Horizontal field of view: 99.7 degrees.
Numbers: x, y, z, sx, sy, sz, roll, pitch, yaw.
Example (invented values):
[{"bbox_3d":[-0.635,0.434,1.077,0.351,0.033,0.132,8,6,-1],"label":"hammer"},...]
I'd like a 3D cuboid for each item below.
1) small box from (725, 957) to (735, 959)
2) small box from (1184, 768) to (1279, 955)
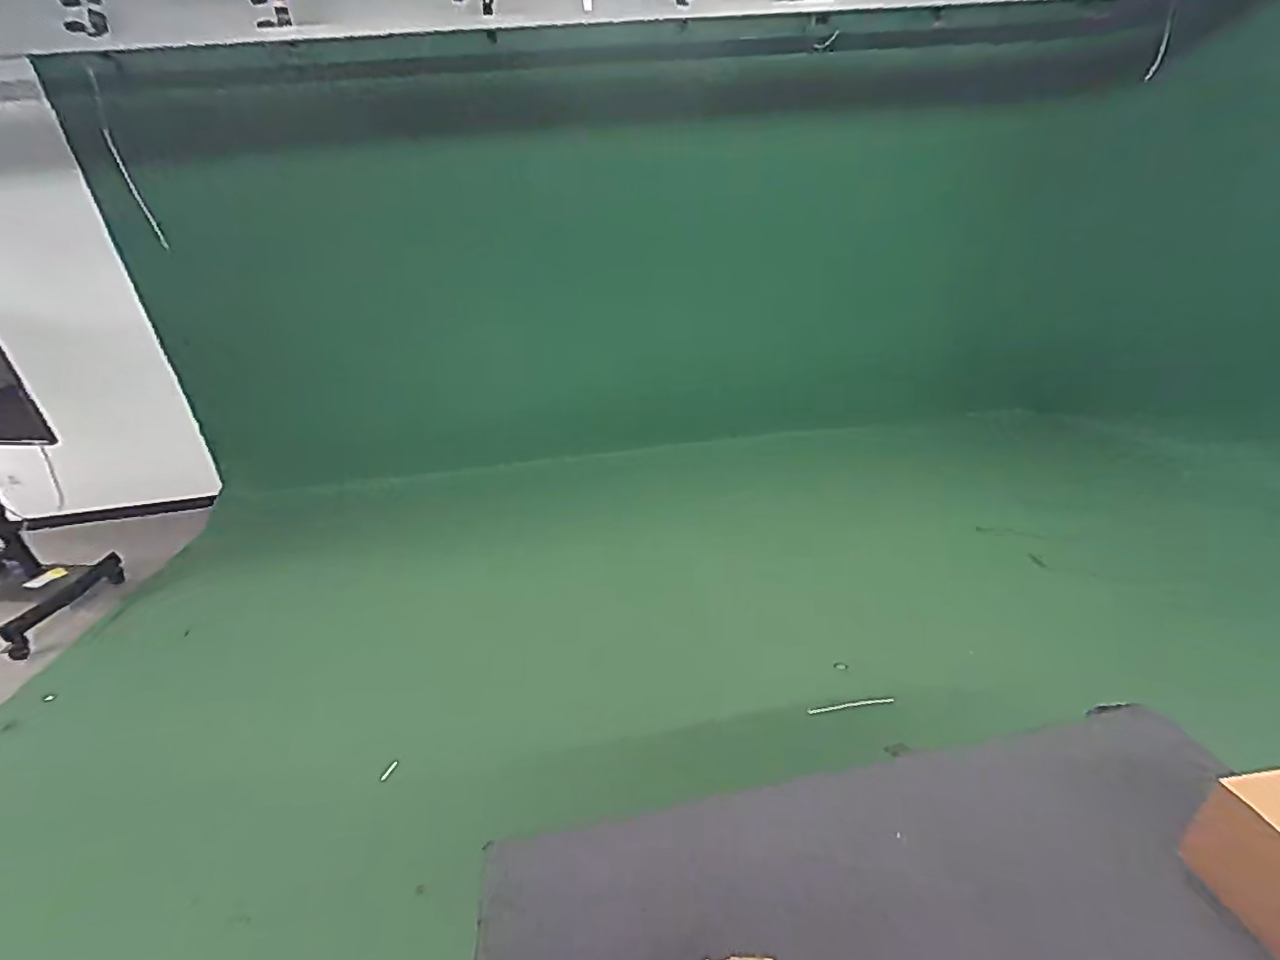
[{"bbox_3d":[0.074,0.604,0.529,0.168,0.176,0.179,-9,51,-13],"label":"small box"},{"bbox_3d":[0.862,0.493,0.676,0.168,0.176,0.179,-6,25,-3],"label":"small box"}]
